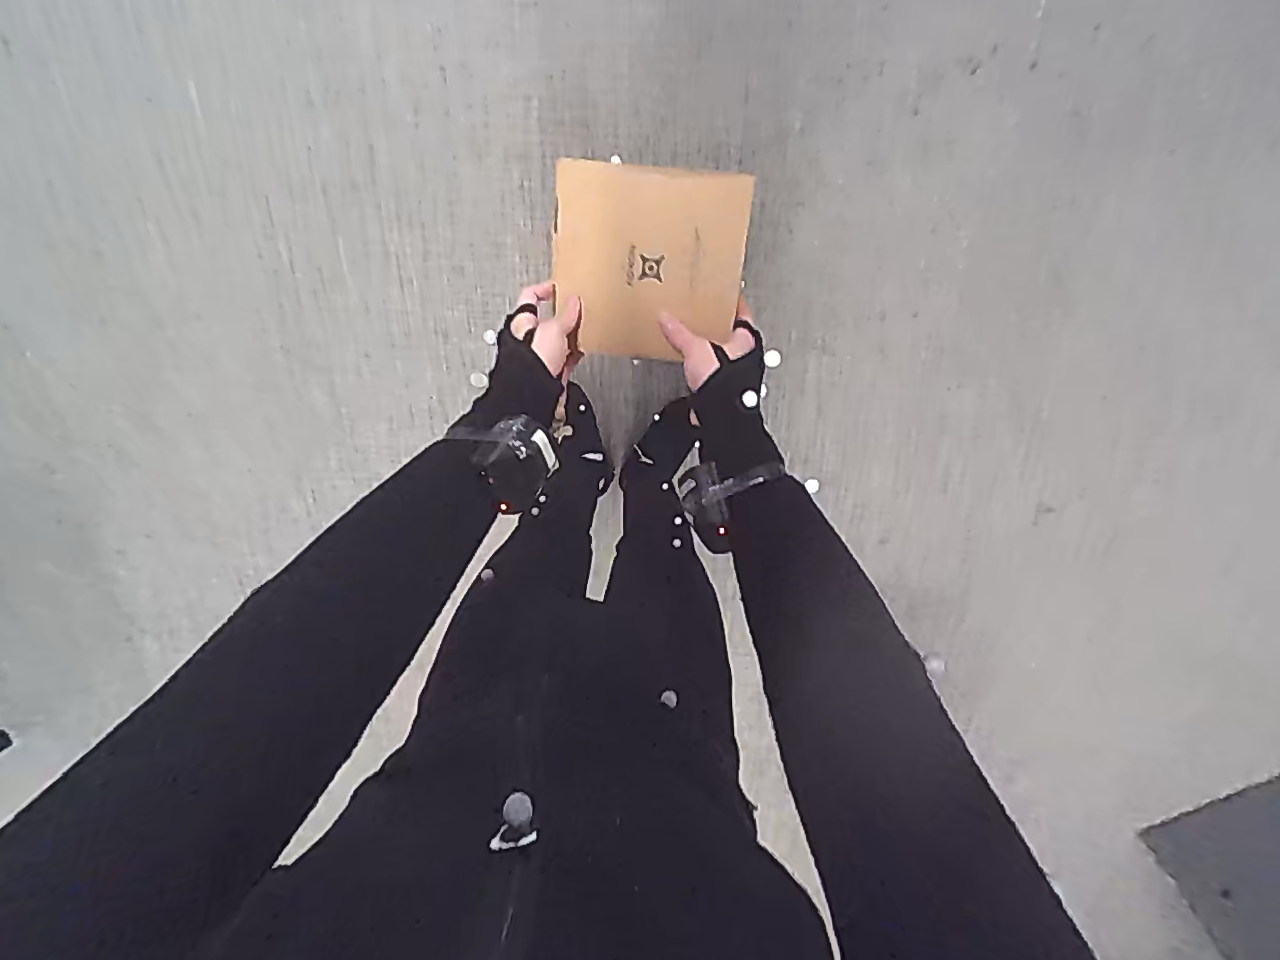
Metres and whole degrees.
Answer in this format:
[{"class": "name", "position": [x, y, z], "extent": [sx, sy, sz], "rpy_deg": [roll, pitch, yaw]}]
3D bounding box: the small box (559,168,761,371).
[{"class": "small box", "position": [0.017, -0.220, 0.577], "extent": [0.179, 0.176, 0.168], "rpy_deg": [5, 113, 0]}]
